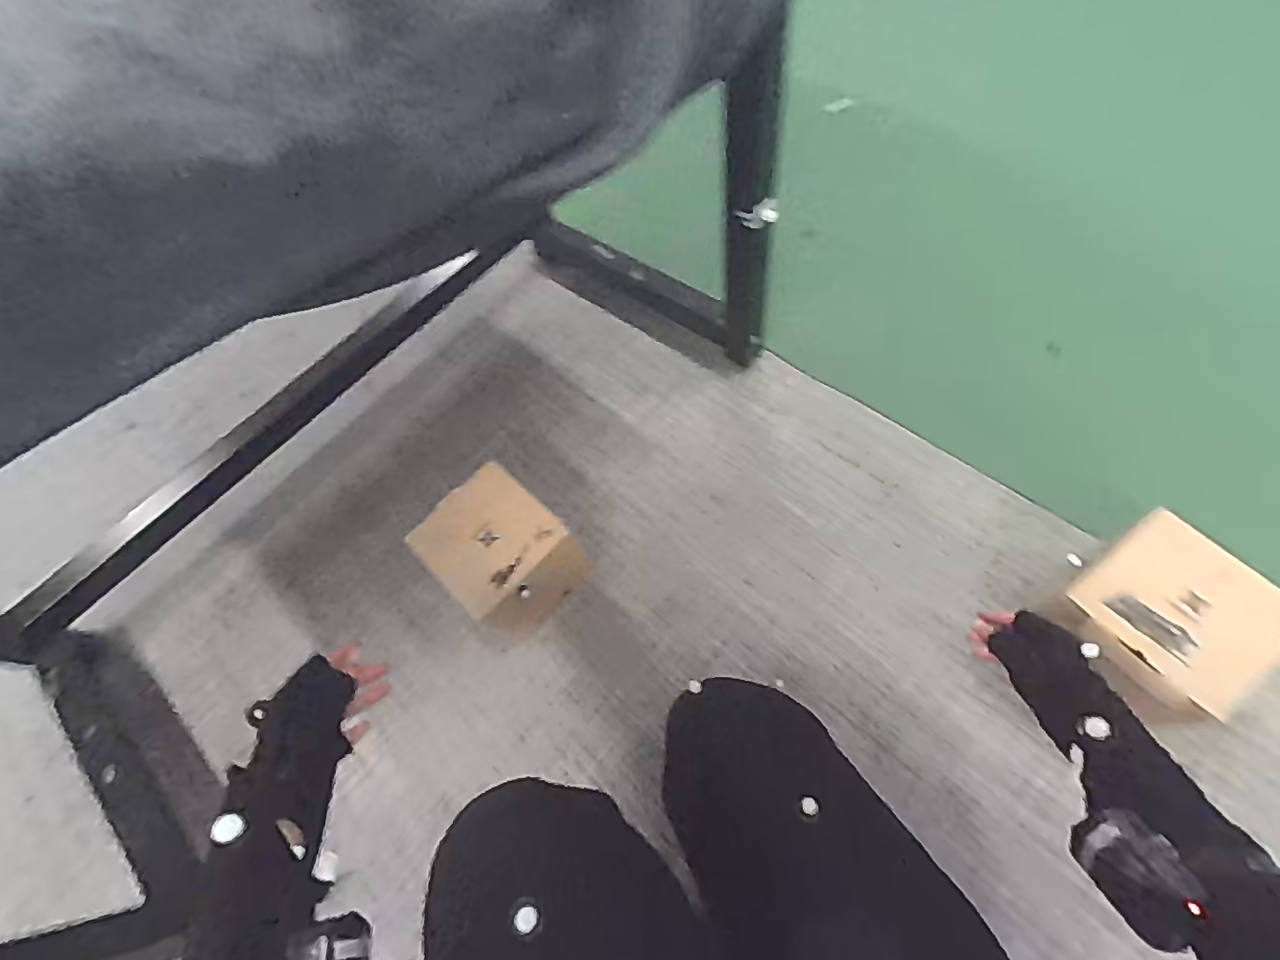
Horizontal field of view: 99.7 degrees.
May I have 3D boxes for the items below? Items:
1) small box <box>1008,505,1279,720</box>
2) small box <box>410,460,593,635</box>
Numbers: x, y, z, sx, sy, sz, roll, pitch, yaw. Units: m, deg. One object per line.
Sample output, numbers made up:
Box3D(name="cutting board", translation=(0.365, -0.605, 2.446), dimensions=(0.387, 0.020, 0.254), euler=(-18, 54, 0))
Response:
Box3D(name="small box", translation=(0.593, 0.168, 0.656), dimensions=(0.179, 0.176, 0.168), euler=(-36, 64, -10))
Box3D(name="small box", translation=(-0.198, 0.109, 0.814), dimensions=(0.179, 0.176, 0.168), euler=(38, 76, 25))
